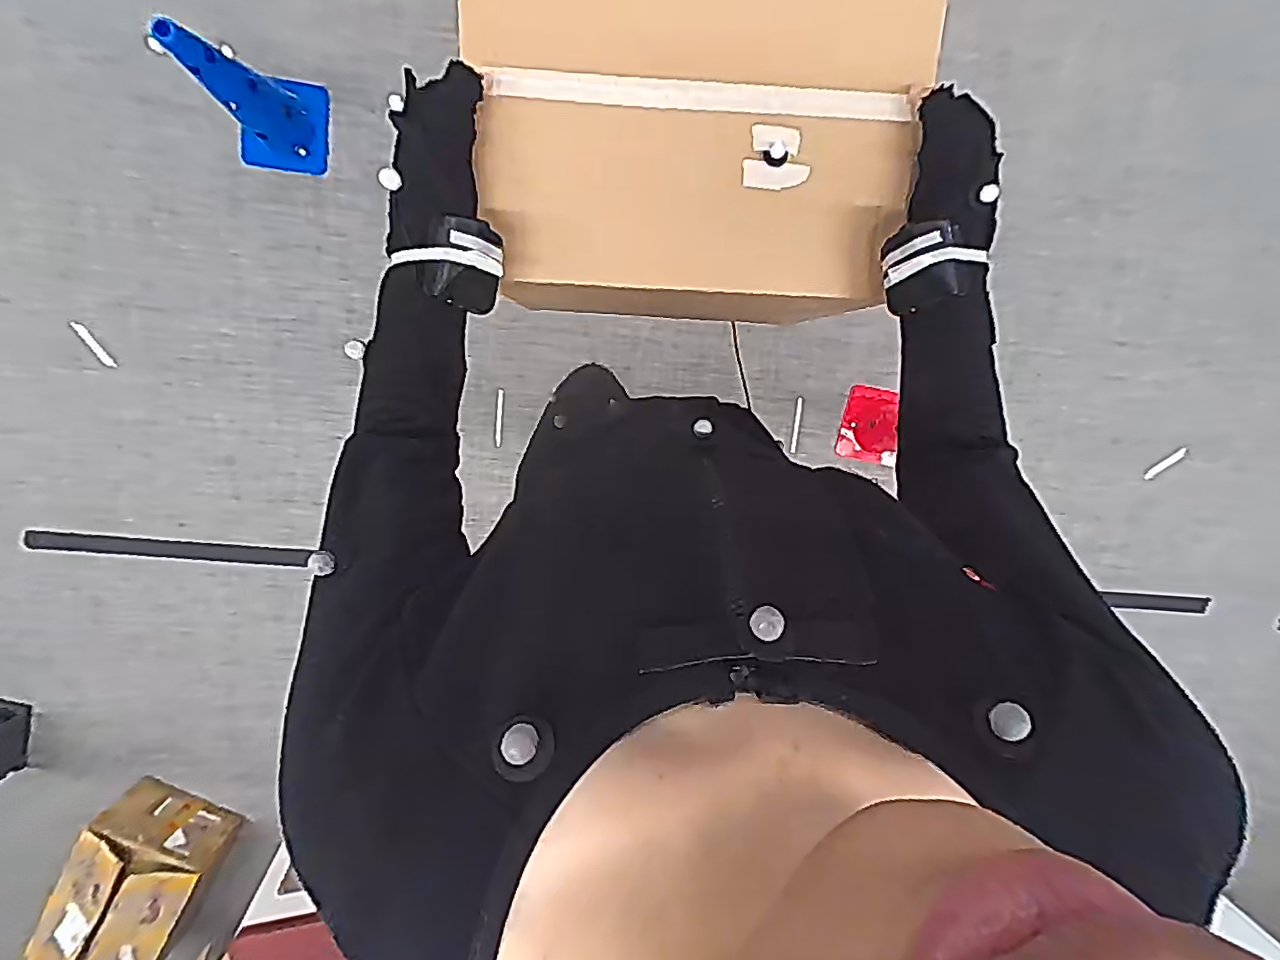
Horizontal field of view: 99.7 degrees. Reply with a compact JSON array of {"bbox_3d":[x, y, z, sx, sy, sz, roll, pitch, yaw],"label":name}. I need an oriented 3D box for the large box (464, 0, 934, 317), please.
[{"bbox_3d":[0.041,-0.362,0.613,0.408,0.320,0.320,2,102,-4],"label":"large box"}]

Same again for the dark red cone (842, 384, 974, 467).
[{"bbox_3d":[0.656,-0.116,1.285,0.201,0.394,0.202,11,99,-3],"label":"dark red cone"}]

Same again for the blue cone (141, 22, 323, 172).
[{"bbox_3d":[-0.852,-0.817,1.131,0.192,0.380,0.193,8,99,-3],"label":"blue cone"}]
